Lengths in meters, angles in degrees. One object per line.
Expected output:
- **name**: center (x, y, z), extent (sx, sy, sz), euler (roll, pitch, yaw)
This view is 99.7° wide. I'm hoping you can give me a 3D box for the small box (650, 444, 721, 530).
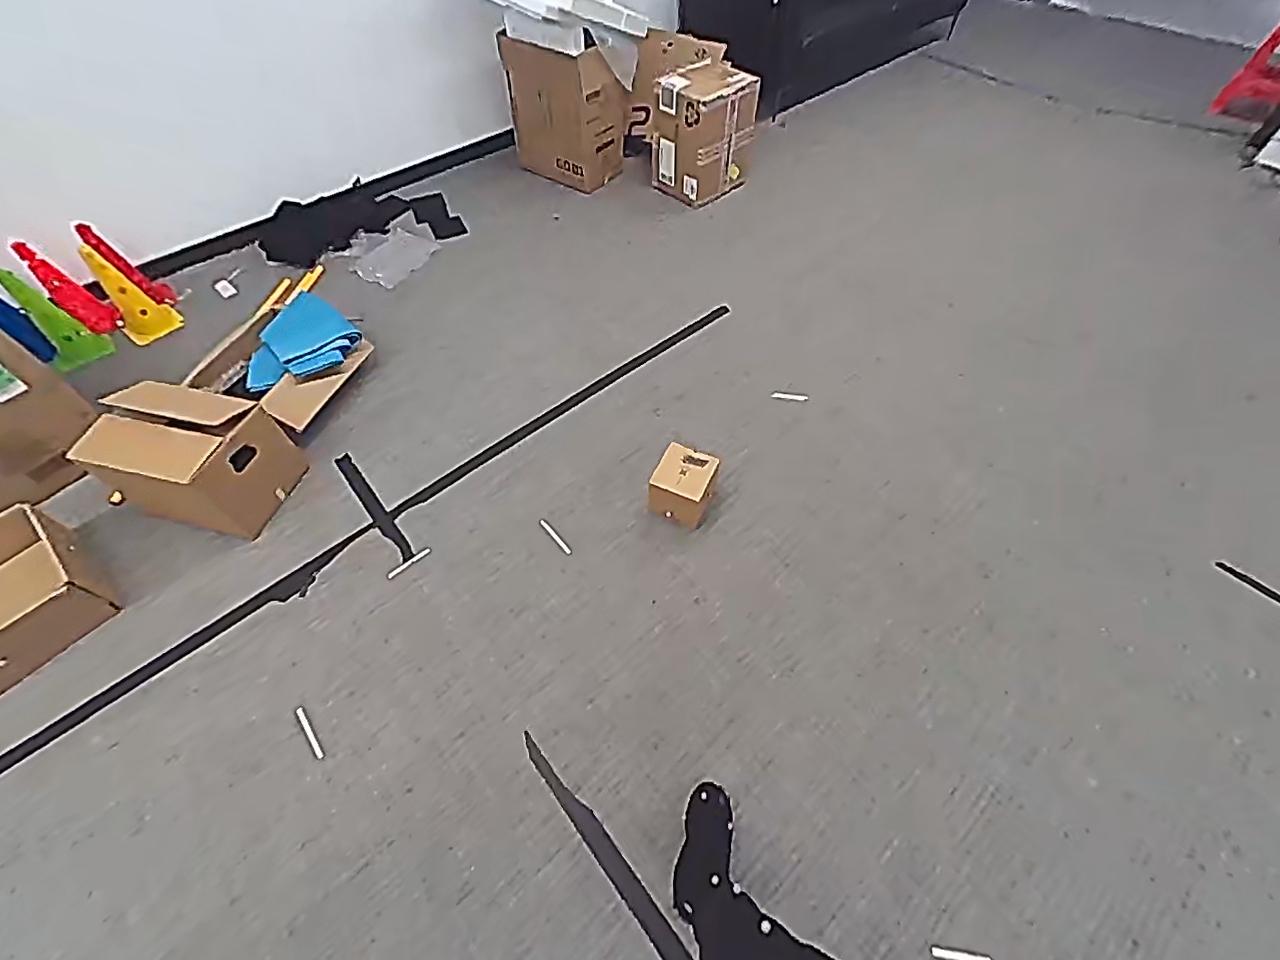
- **small box**: center (0.138, 0.025, 1.692), extent (0.168, 0.176, 0.179), euler (21, 58, 16)
